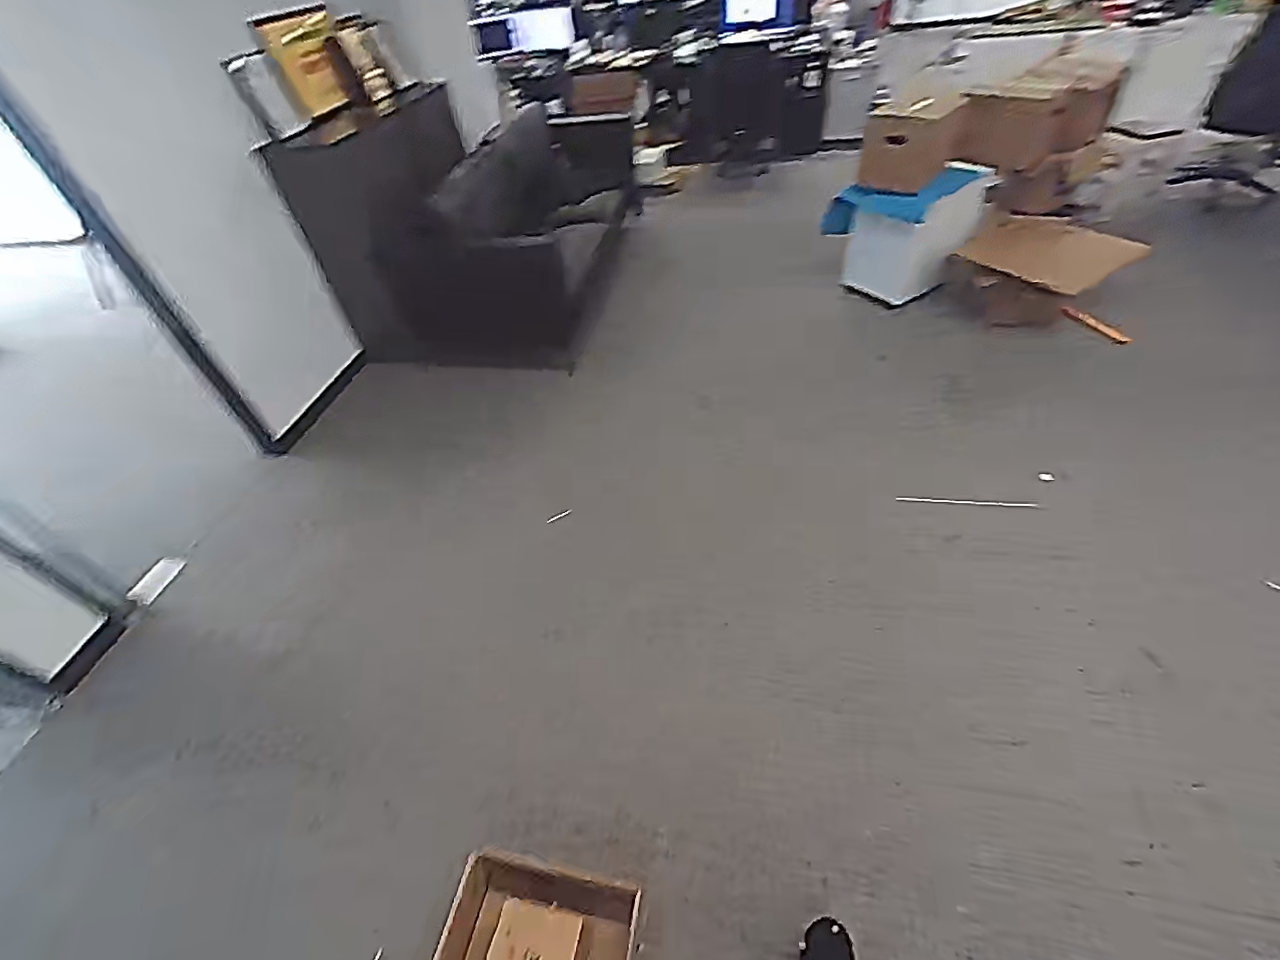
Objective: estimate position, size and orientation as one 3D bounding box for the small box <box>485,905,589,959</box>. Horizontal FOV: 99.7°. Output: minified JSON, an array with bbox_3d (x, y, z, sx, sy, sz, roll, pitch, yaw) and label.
[{"bbox_3d":[-0.217,1.015,1.123,0.179,0.176,0.168,5,47,13],"label":"small box"}]
